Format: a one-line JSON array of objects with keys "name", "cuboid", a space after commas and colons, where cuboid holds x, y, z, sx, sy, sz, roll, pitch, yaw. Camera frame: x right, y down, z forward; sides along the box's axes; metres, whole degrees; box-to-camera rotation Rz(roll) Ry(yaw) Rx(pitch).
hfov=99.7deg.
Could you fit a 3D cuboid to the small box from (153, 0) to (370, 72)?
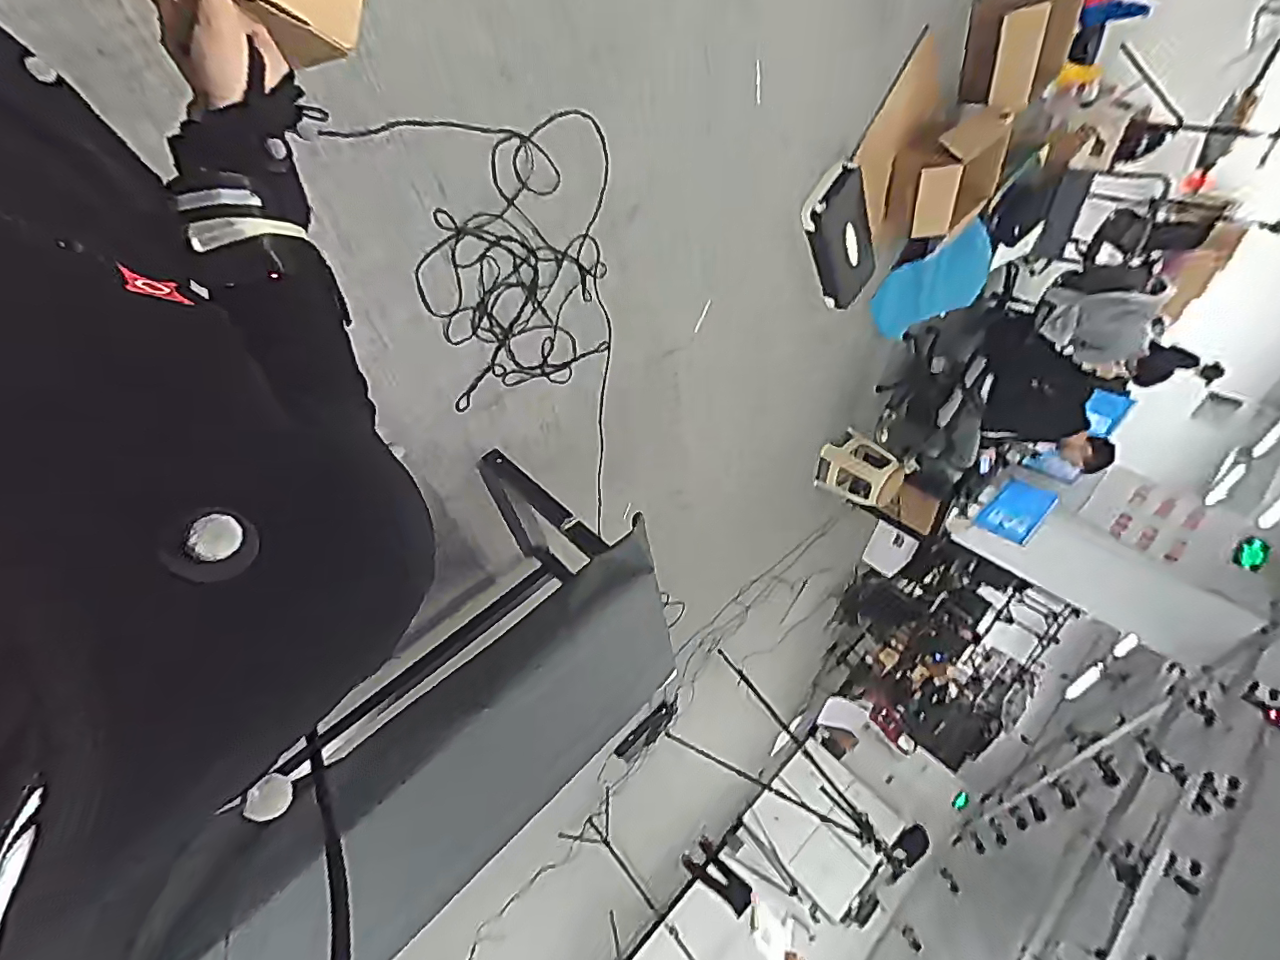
[{"name": "small box", "cuboid": [-0.289, -0.425, 0.372, 0.168, 0.176, 0.179, 6, 109, -49]}]
